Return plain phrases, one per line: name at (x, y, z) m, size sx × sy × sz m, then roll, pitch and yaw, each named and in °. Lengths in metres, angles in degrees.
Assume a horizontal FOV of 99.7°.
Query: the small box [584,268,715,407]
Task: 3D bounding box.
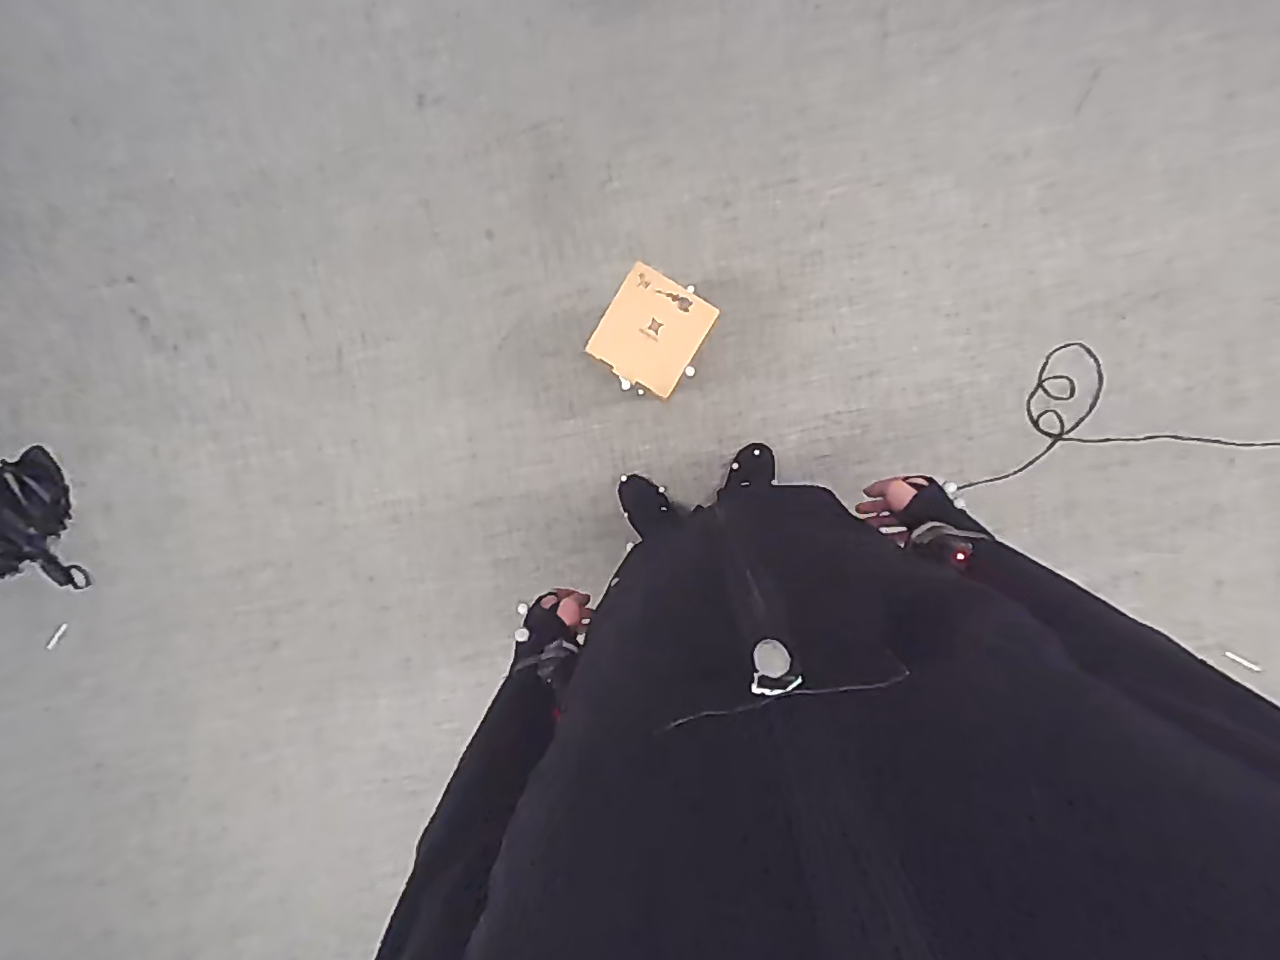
small box at (0.022, -0.247, 0.991) m, size 0.168 × 0.176 × 0.179 m, roll 32°, pitch 96°, yaw 1°
